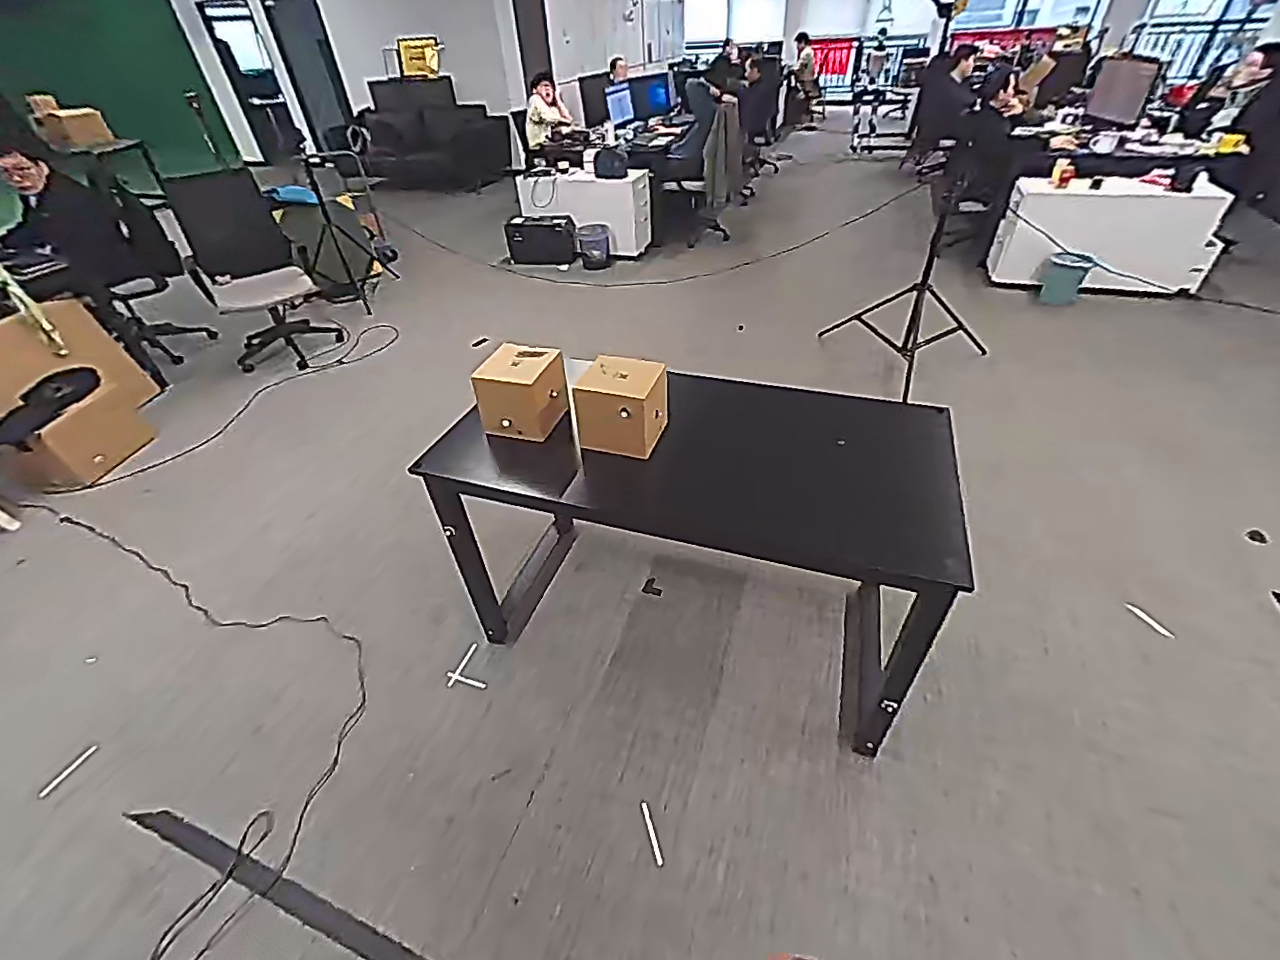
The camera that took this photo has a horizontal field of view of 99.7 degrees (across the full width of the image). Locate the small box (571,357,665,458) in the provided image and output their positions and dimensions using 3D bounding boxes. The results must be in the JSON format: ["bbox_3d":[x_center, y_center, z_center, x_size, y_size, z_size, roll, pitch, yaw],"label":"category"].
[{"bbox_3d":[-0.045,-0.172,1.297,0.179,0.176,0.168,11,42,16],"label":"small box"}]

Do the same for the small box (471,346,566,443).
[{"bbox_3d":[-0.298,-0.218,1.371,0.168,0.176,0.179,9,43,15],"label":"small box"}]
